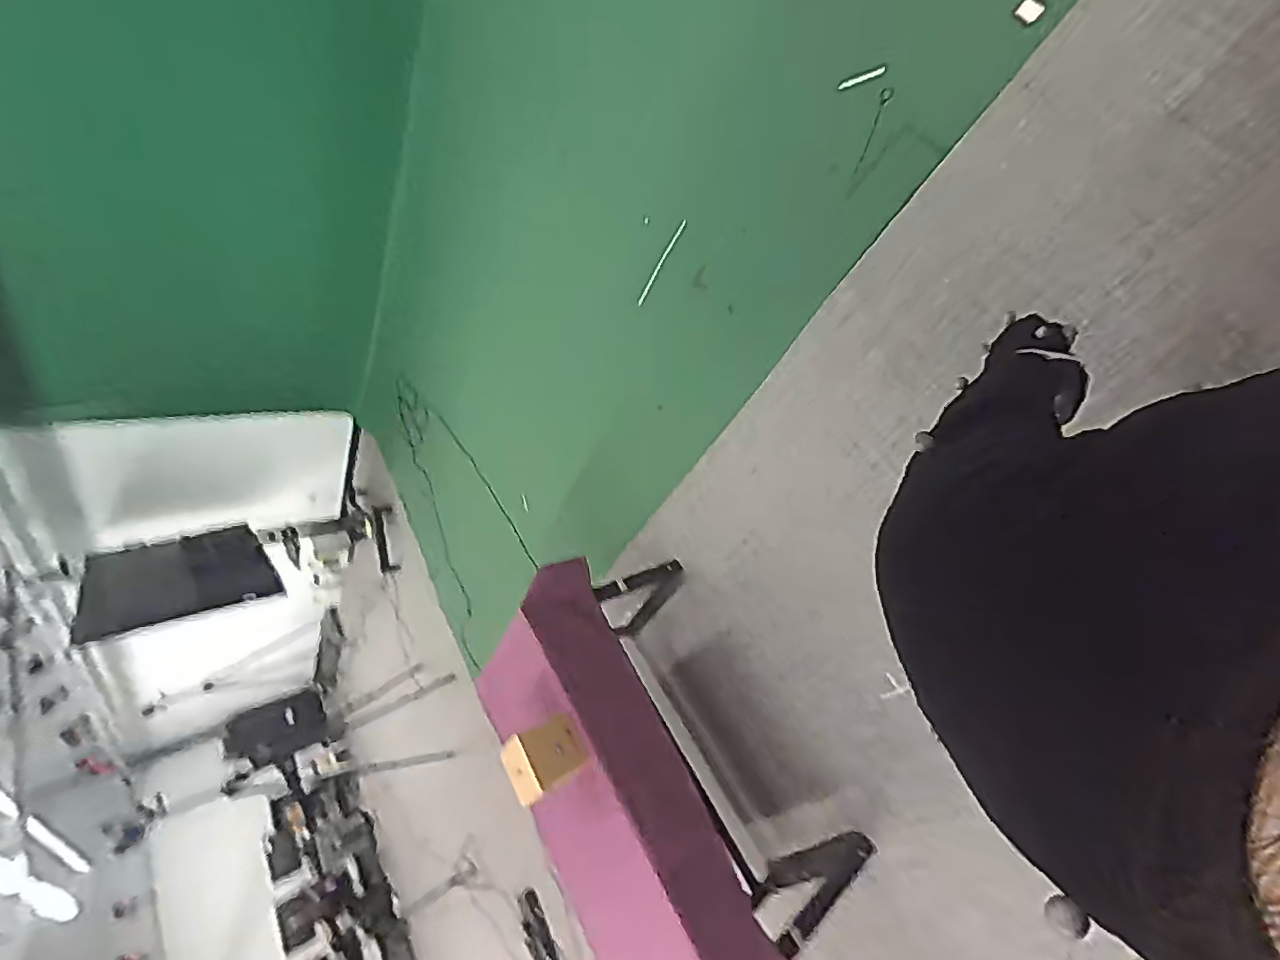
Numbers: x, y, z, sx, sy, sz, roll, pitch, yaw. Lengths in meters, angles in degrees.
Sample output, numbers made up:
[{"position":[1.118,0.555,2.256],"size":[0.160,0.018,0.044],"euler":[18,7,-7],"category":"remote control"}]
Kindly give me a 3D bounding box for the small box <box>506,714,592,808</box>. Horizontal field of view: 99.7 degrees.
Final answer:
[{"position":[-0.263,0.819,1.585],"size":[0.168,0.176,0.179],"euler":[56,134,24],"category":"small box"}]
